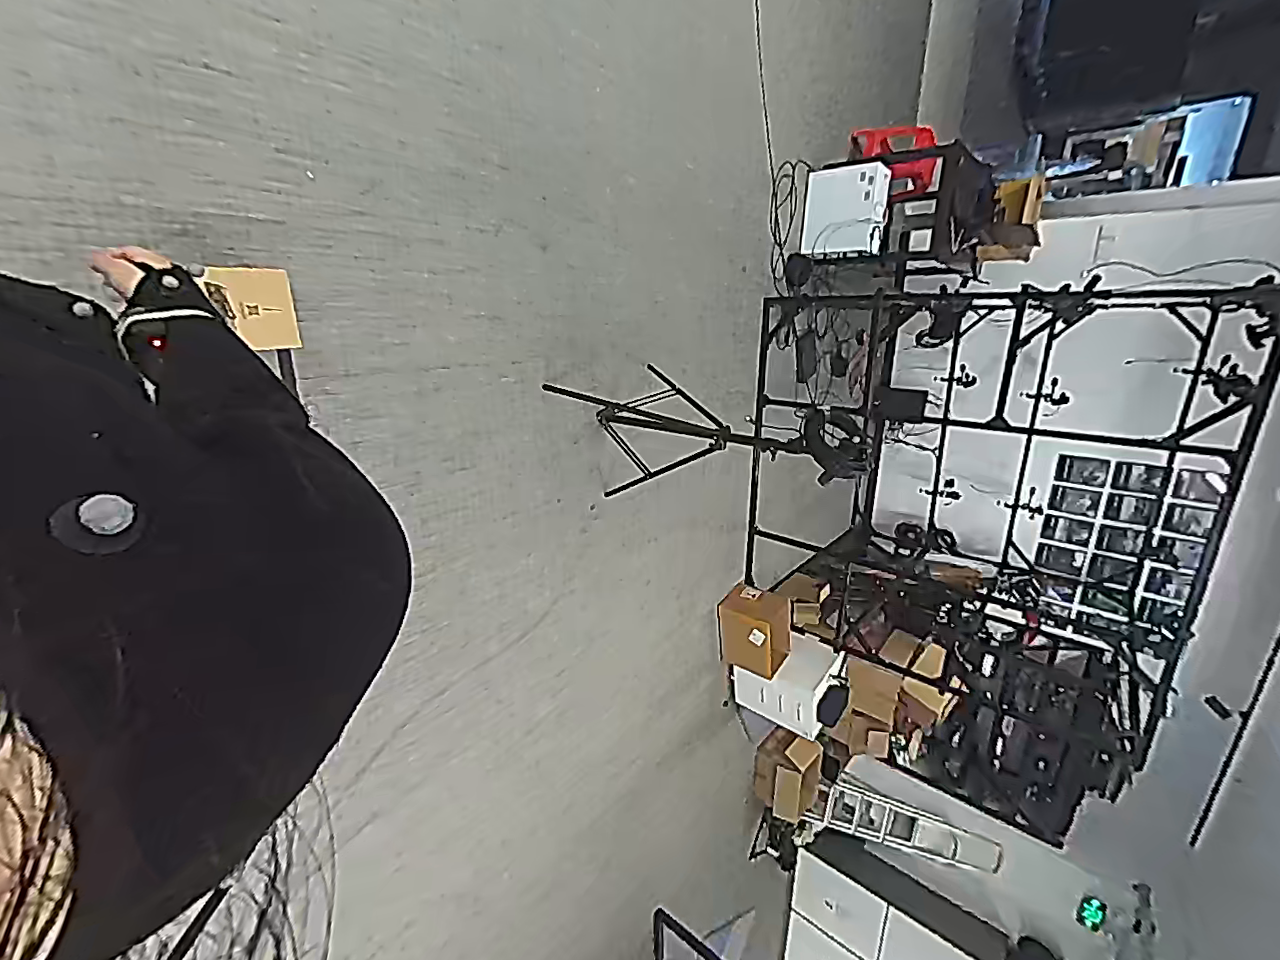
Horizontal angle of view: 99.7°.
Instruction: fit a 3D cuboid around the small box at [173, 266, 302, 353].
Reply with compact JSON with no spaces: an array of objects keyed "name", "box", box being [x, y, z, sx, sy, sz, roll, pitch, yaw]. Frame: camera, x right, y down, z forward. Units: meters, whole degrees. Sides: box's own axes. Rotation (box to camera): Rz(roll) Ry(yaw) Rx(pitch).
[{"name":"small box","box":[-0.869,-0.364,1.164,0.179,0.176,0.168,-21,117,-47]}]
